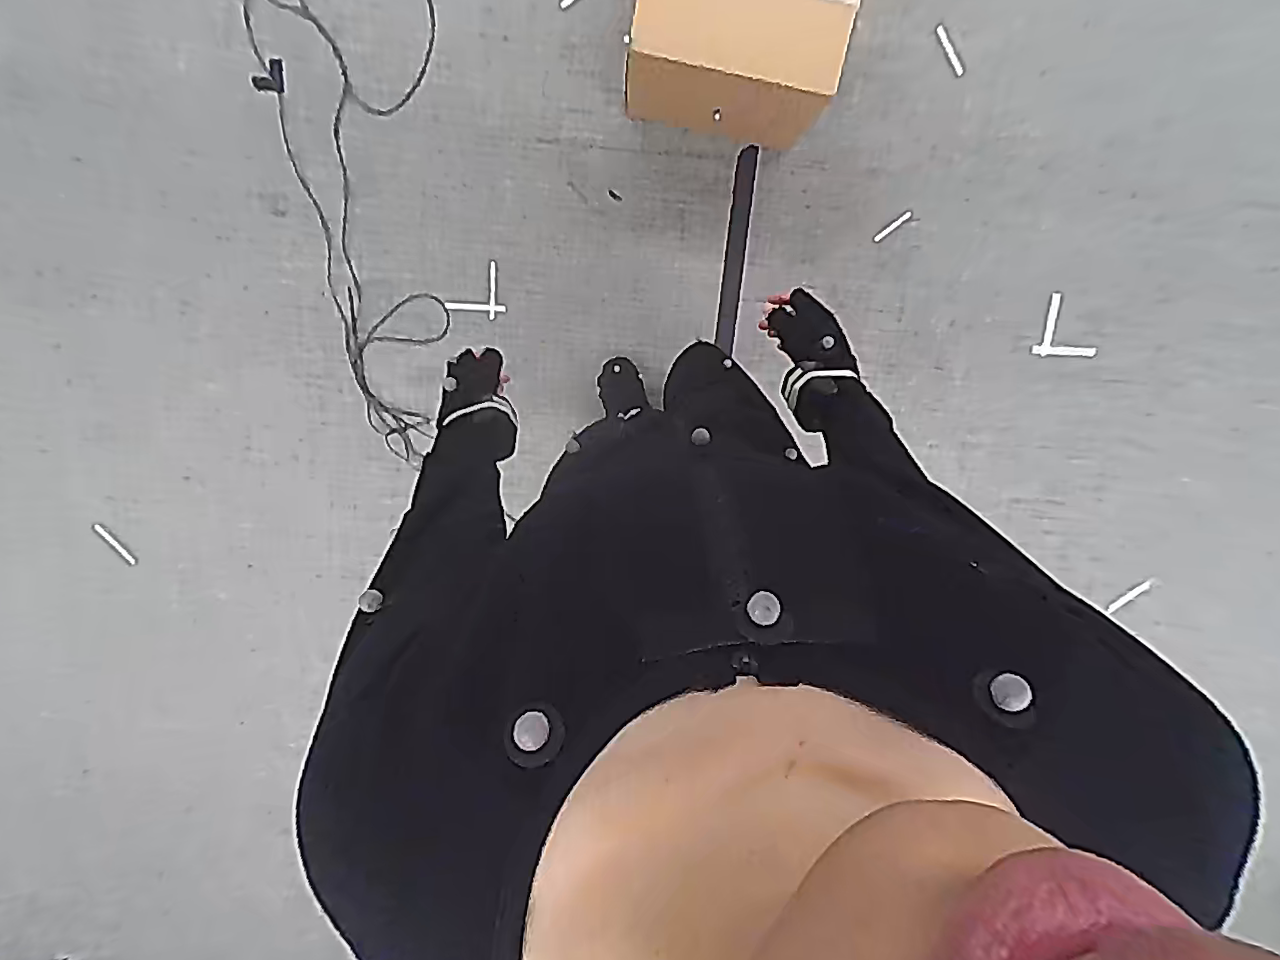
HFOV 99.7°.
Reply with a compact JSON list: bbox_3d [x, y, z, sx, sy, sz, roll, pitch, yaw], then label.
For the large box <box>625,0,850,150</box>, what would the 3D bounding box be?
[{"bbox_3d":[0.191,-0.942,1.138,0.408,0.320,0.320,9,103,-4],"label":"large box"}]
